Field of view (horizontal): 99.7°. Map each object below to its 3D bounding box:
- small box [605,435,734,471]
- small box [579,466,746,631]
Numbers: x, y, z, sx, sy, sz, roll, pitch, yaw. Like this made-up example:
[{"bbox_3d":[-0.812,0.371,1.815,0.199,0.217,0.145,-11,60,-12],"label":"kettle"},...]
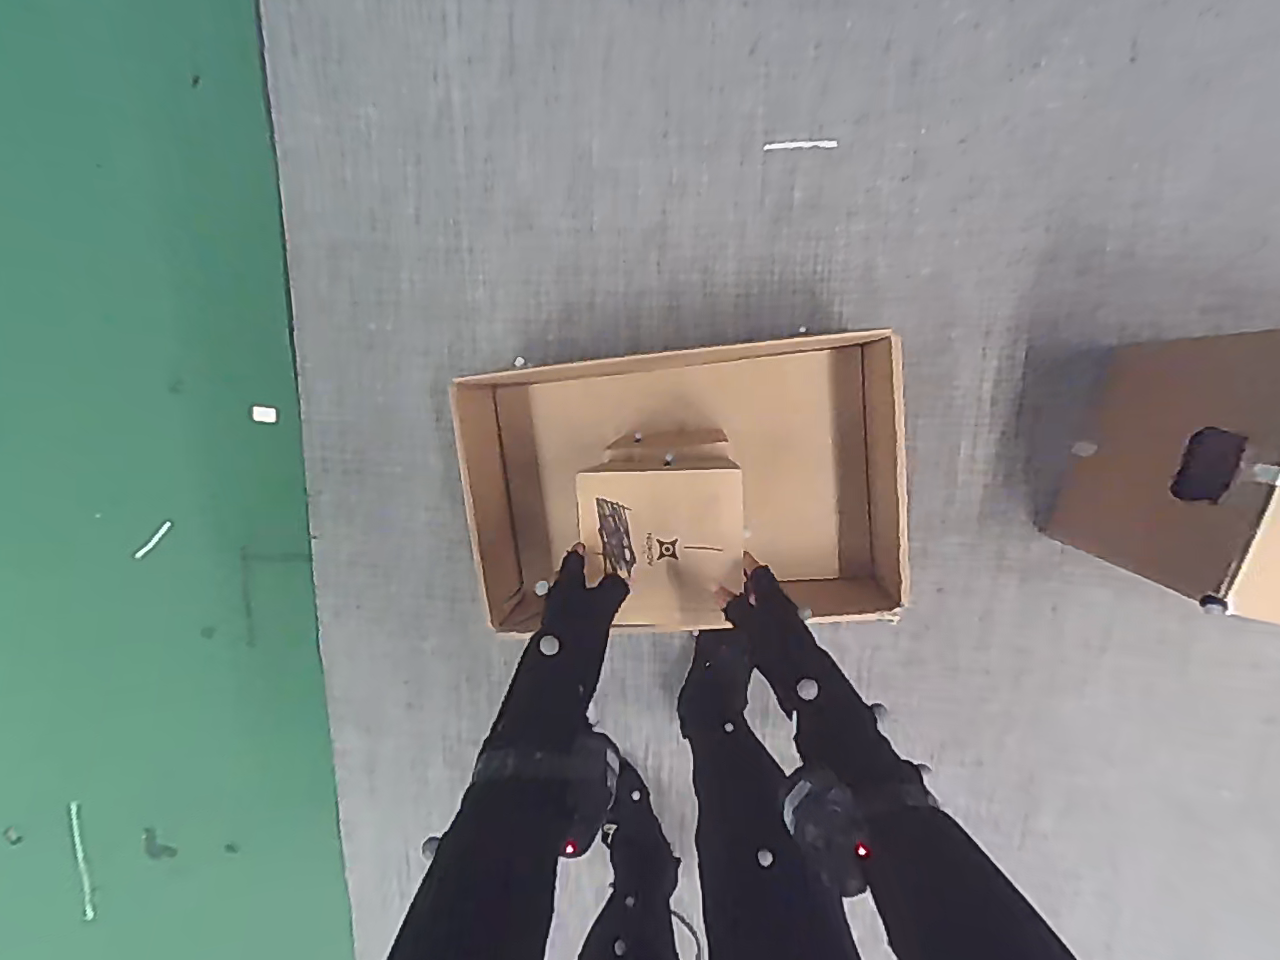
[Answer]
[{"bbox_3d":[0.053,0.025,0.821,0.179,0.176,0.168,-4,100,6],"label":"small box"},{"bbox_3d":[0.033,0.070,0.645,0.179,0.176,0.168,-1,95,6],"label":"small box"}]
